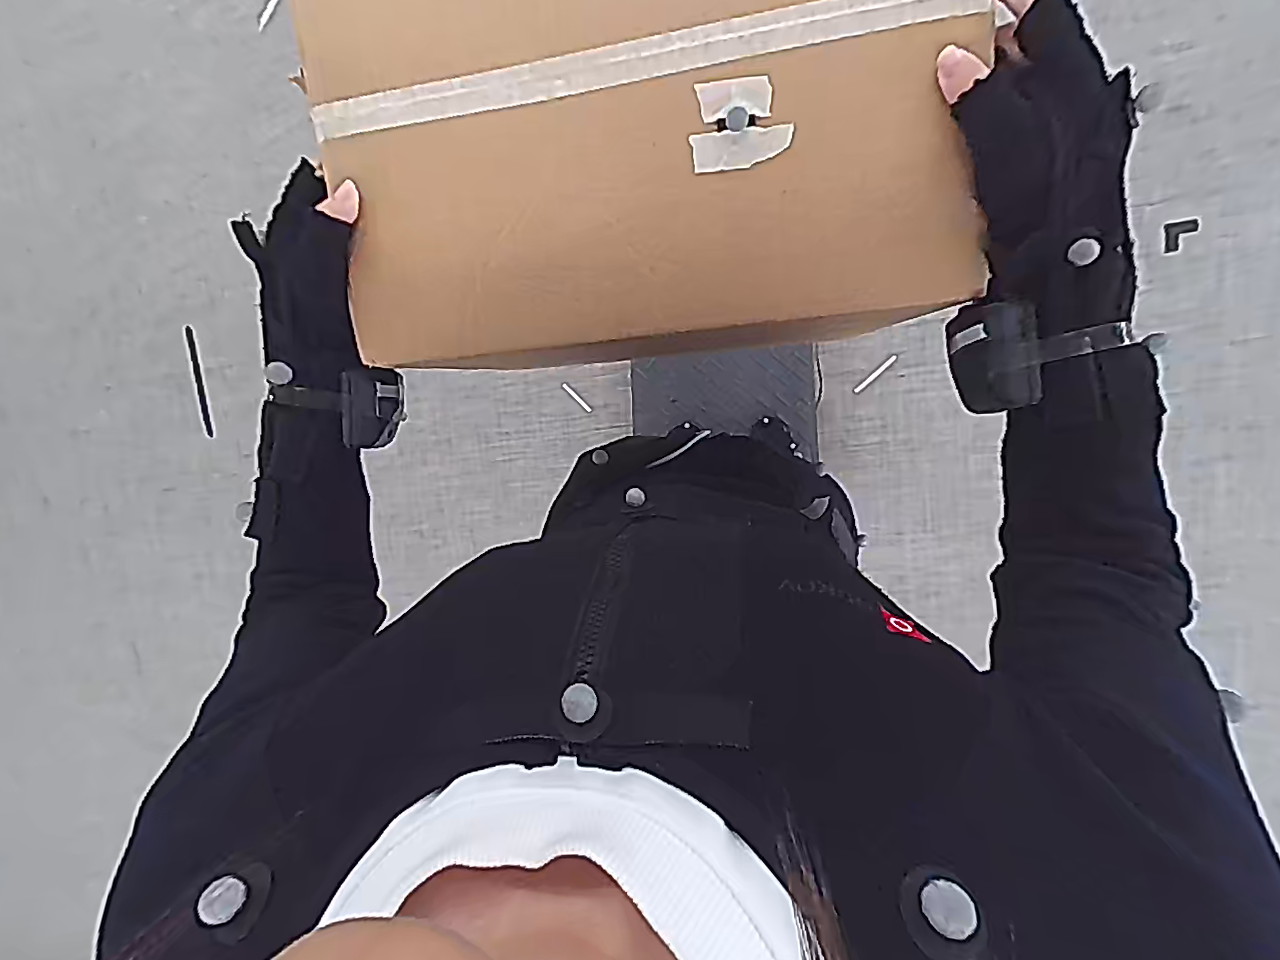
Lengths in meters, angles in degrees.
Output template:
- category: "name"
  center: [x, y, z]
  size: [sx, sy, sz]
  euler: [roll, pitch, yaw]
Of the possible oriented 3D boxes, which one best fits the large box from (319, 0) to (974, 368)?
- category: "large box"
  center: [0.012, -0.281, 0.481]
  size: [0.408, 0.320, 0.320]
  euler: [-4, 101, 9]
